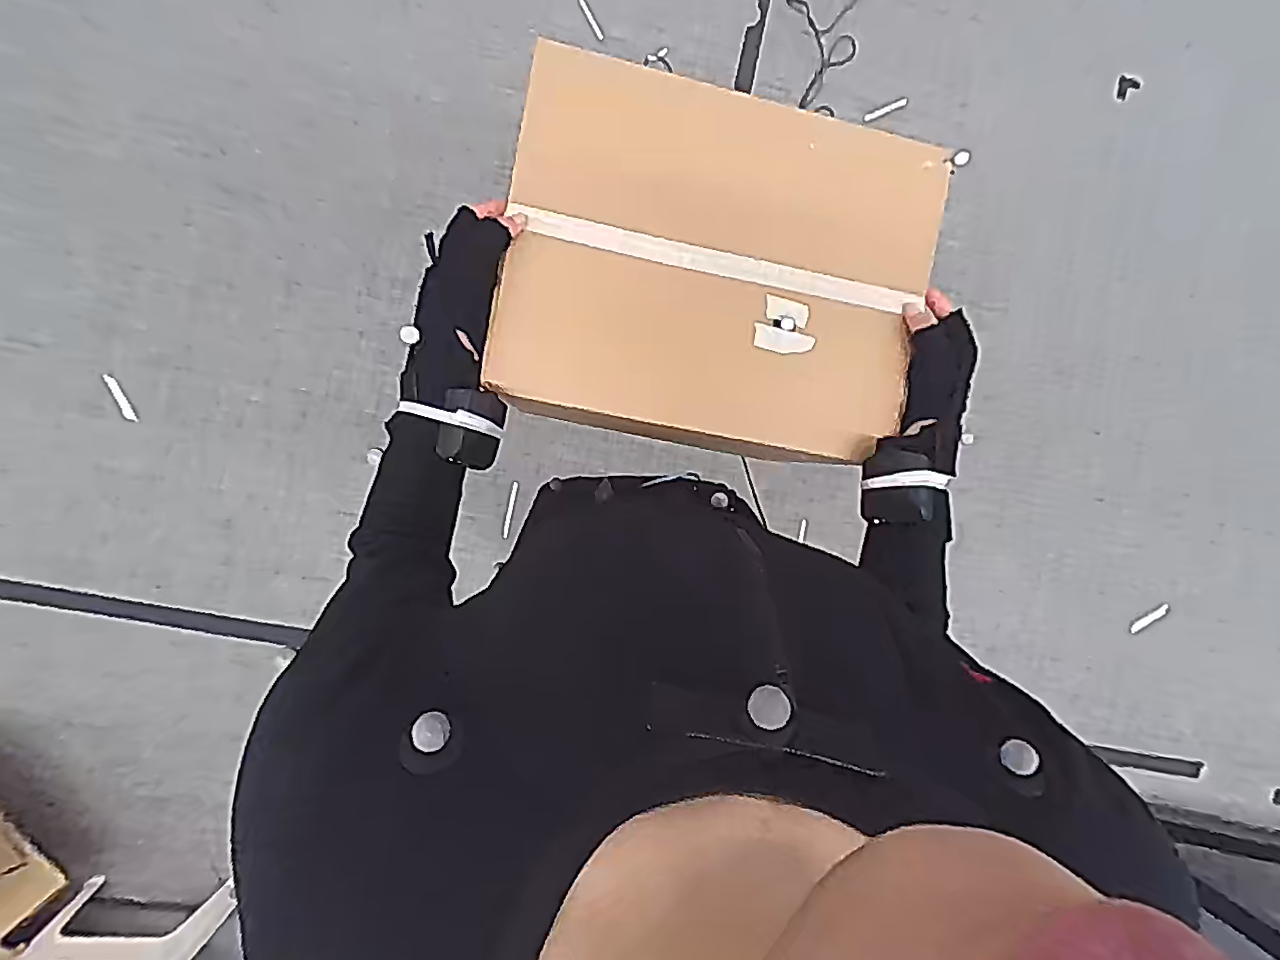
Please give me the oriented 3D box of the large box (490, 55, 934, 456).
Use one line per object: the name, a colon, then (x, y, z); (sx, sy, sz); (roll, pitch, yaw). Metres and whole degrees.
large box: (0.056, -0.214, 0.666); (0.408, 0.320, 0.320); (10, 93, -8)
